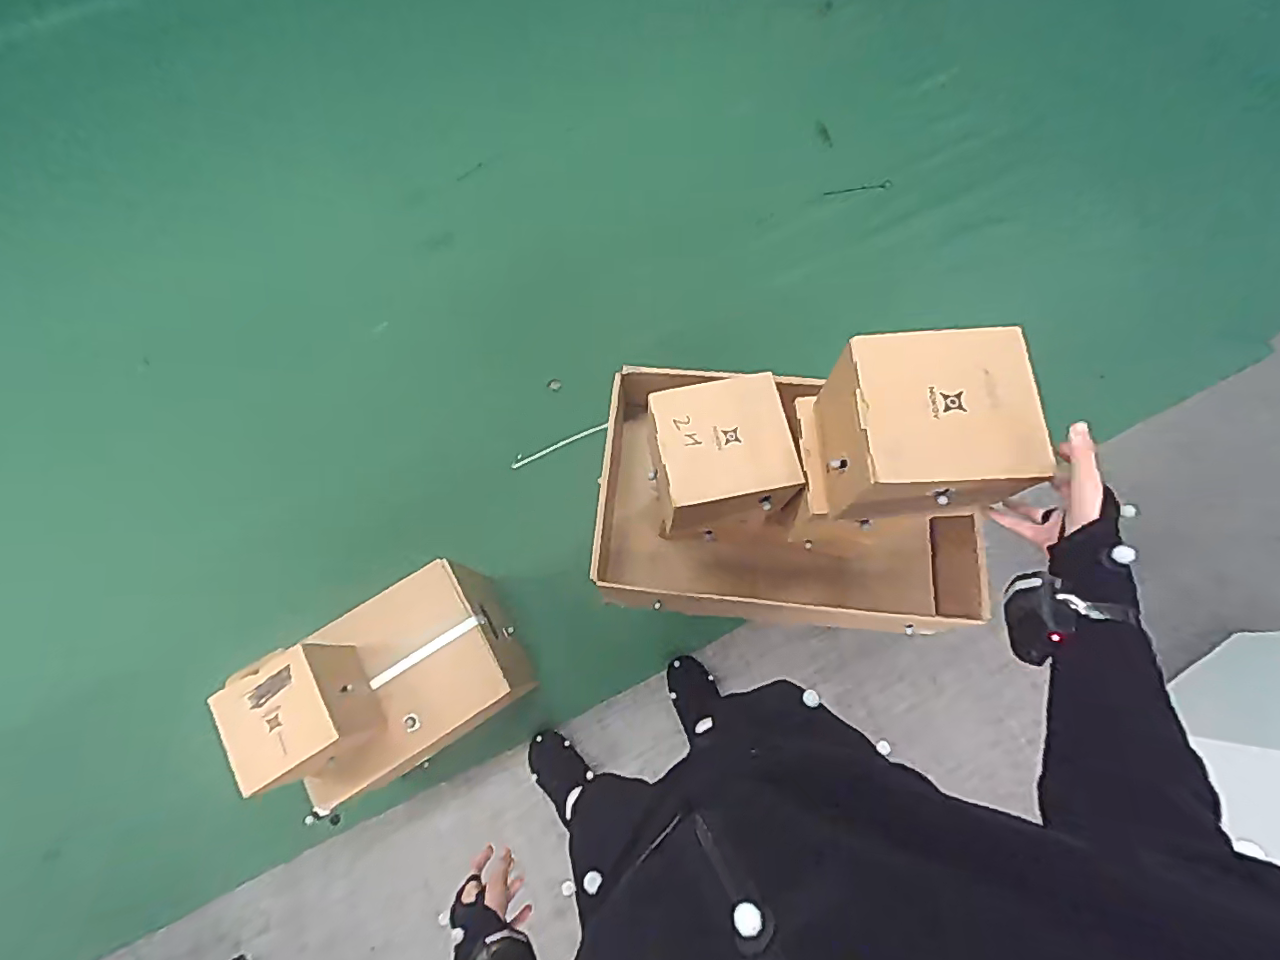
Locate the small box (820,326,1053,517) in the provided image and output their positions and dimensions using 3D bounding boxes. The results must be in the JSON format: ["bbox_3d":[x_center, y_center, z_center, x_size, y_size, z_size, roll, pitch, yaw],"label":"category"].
[{"bbox_3d":[0.314,-0.056,0.620,0.179,0.176,0.168,-2,73,4],"label":"small box"}]

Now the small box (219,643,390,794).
[{"bbox_3d":[-0.583,0.411,0.957,0.168,0.176,0.179,-31,74,-8],"label":"small box"}]
